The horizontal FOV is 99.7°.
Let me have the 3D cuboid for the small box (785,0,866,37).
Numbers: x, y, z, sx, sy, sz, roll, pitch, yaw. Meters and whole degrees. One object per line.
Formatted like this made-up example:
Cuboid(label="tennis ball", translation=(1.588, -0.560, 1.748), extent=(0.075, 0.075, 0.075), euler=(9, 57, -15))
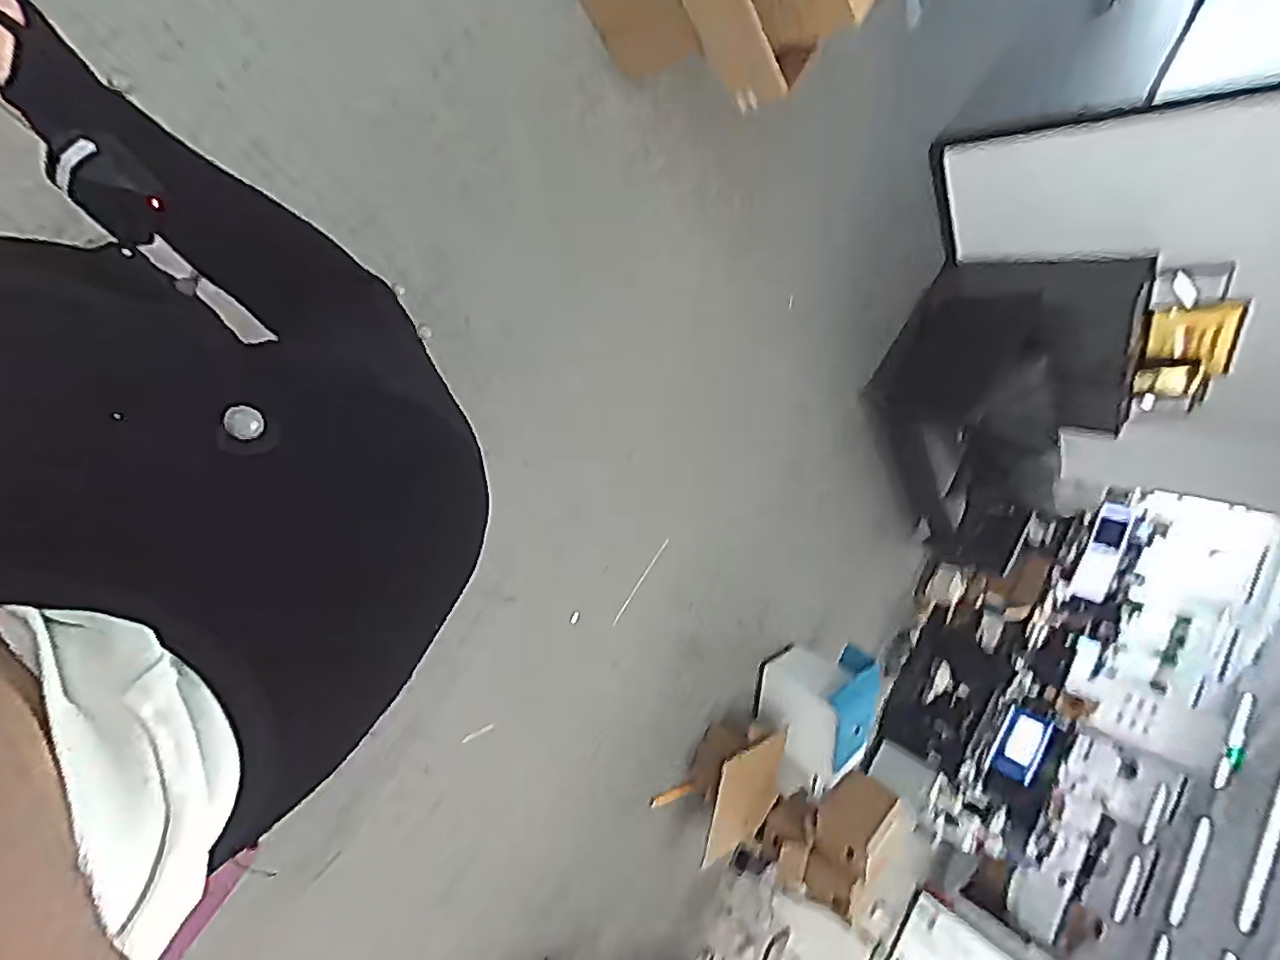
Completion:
Cuboid(label="small box", translation=(0.475, -1.275, 1.362), extent=(0.168, 0.176, 0.179), euler=(35, 81, -46))
